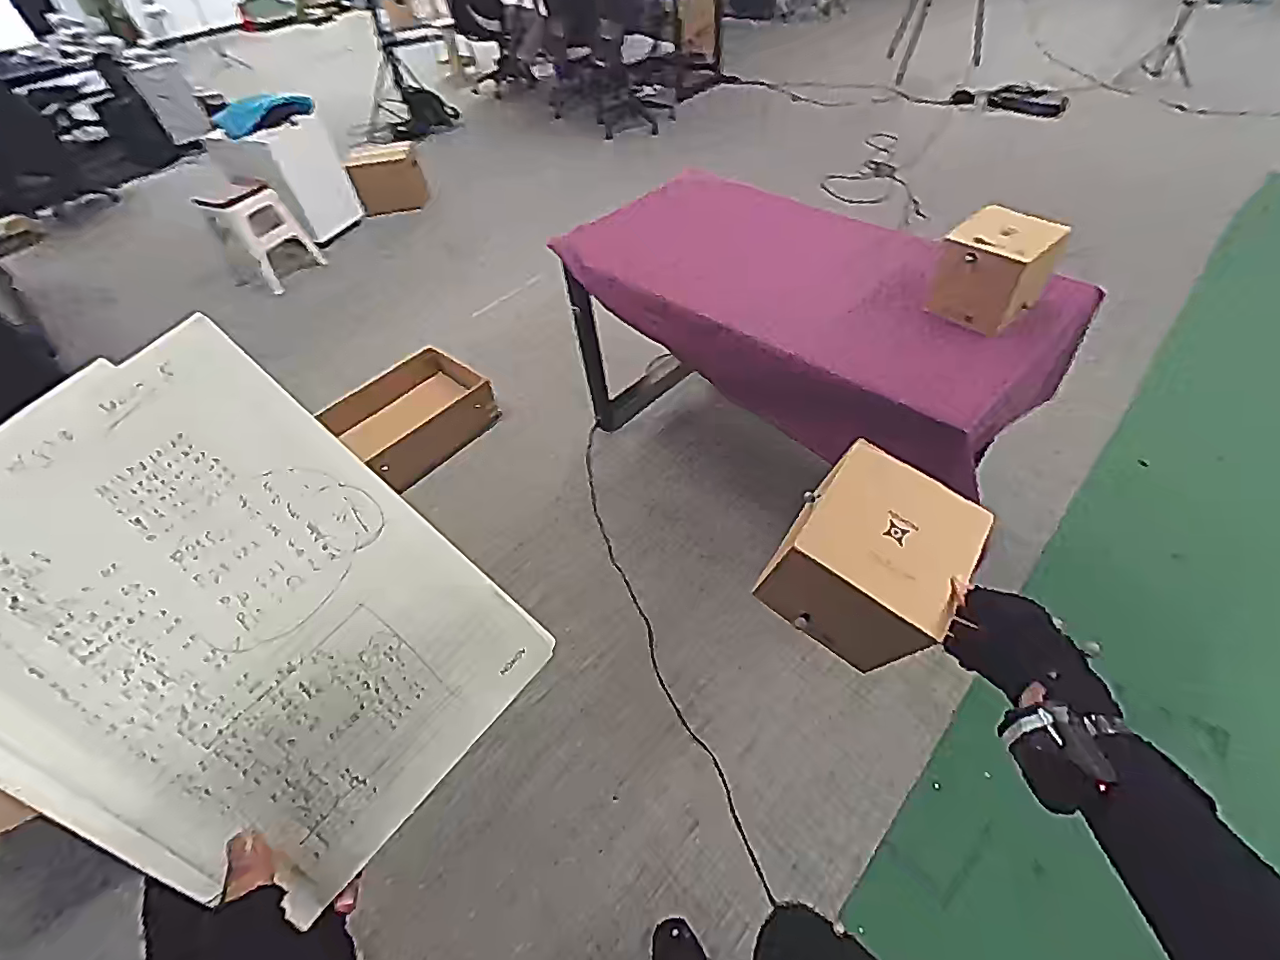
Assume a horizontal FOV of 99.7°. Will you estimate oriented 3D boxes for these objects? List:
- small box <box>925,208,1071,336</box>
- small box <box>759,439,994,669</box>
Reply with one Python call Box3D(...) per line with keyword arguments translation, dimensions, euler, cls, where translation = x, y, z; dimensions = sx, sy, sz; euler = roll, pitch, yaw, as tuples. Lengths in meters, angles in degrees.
Box3D(translation=(0.728, -0.430, 1.120), dimensions=(0.179, 0.176, 0.168), euler=(-35, 54, -22), cls="small box")
Box3D(translation=(0.263, 0.092, 0.636), dimensions=(0.168, 0.176, 0.179), euler=(35, 64, 13), cls="small box")
